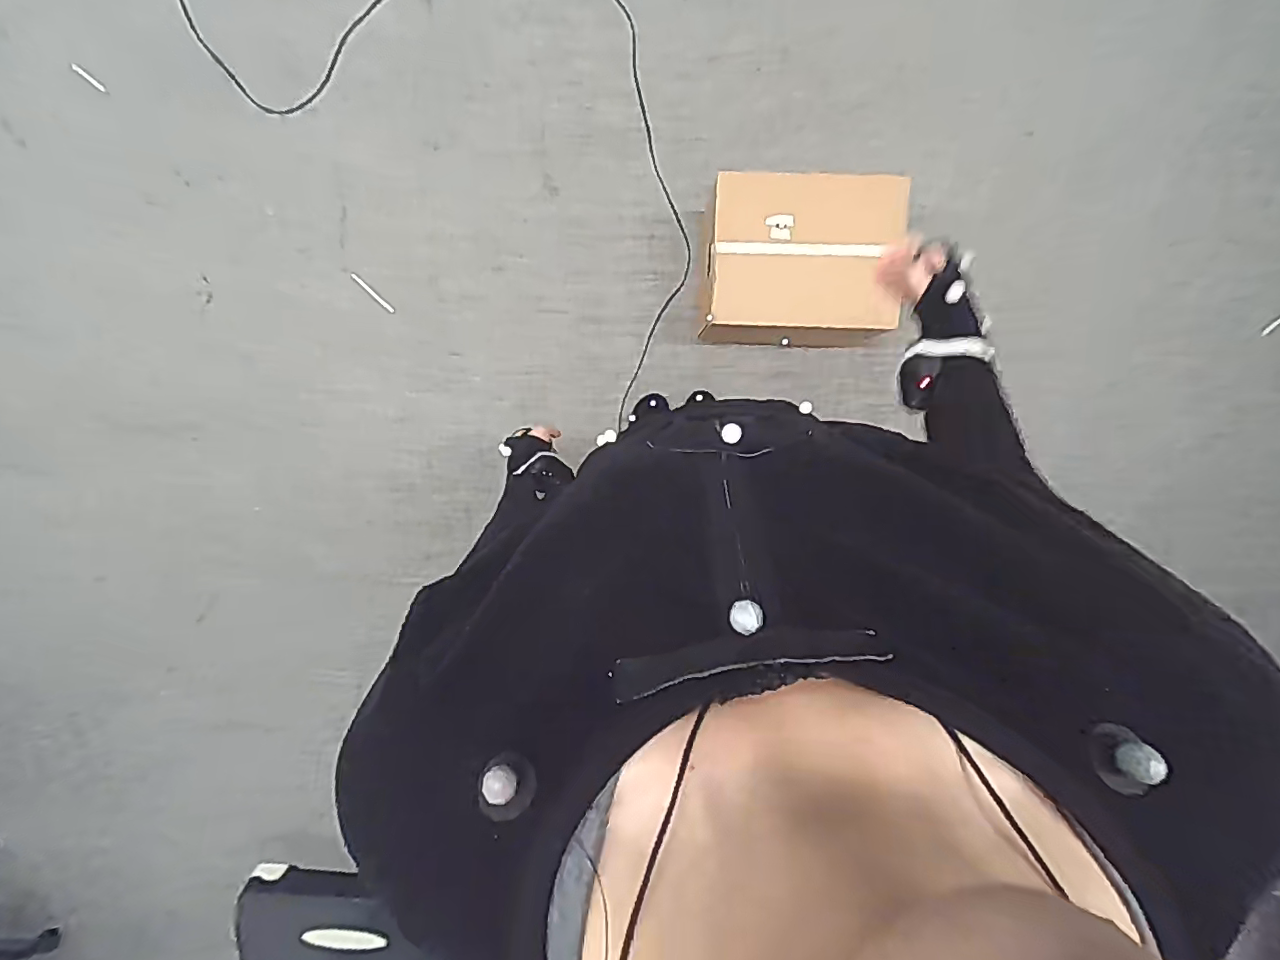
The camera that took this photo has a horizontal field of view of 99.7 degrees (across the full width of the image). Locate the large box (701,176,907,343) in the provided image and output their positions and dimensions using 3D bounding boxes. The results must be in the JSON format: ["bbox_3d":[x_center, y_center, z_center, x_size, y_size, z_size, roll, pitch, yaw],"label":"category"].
[{"bbox_3d":[0.362,-0.501,1.294,0.408,0.320,0.320,2,97,2],"label":"large box"}]
